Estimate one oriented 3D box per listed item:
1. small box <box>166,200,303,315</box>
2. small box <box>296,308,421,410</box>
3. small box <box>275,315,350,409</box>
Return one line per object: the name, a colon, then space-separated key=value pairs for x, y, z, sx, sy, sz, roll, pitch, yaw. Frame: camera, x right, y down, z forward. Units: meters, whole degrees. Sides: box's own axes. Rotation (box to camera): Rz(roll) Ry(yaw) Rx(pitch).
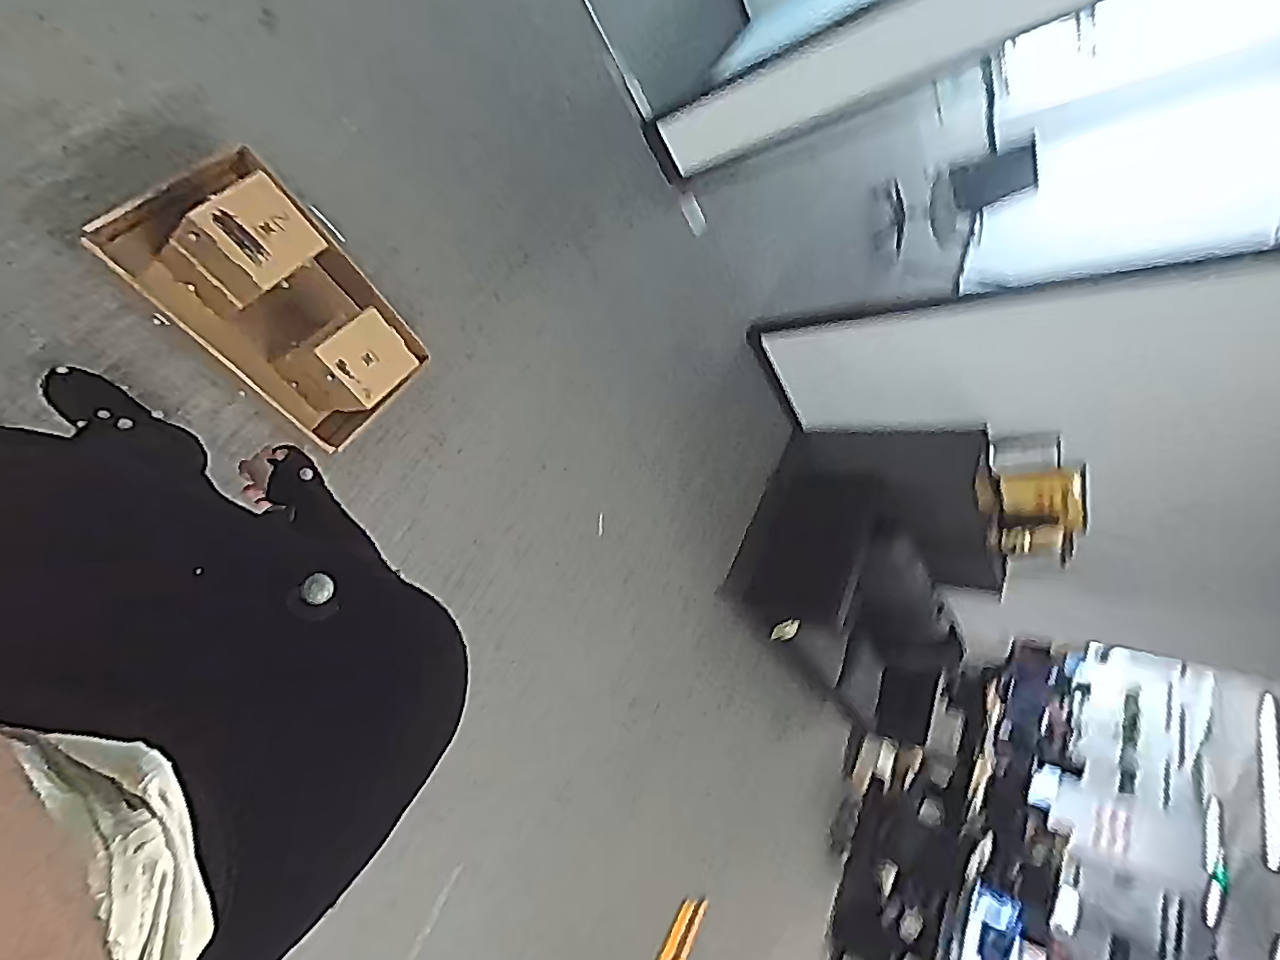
small box: x=-0.928 y=-0.502 z=1.234 sx=0.179 sy=0.176 sz=0.168 roll=-57 pitch=131 yaw=-29
small box: x=-0.673 y=-0.284 z=1.291 sx=0.179 sy=0.176 sz=0.168 roll=-55 pitch=130 yaw=-31
small box: x=-0.797 y=-0.300 z=1.399 sx=0.179 sy=0.176 sz=0.168 roll=-55 pitch=130 yaw=-29
